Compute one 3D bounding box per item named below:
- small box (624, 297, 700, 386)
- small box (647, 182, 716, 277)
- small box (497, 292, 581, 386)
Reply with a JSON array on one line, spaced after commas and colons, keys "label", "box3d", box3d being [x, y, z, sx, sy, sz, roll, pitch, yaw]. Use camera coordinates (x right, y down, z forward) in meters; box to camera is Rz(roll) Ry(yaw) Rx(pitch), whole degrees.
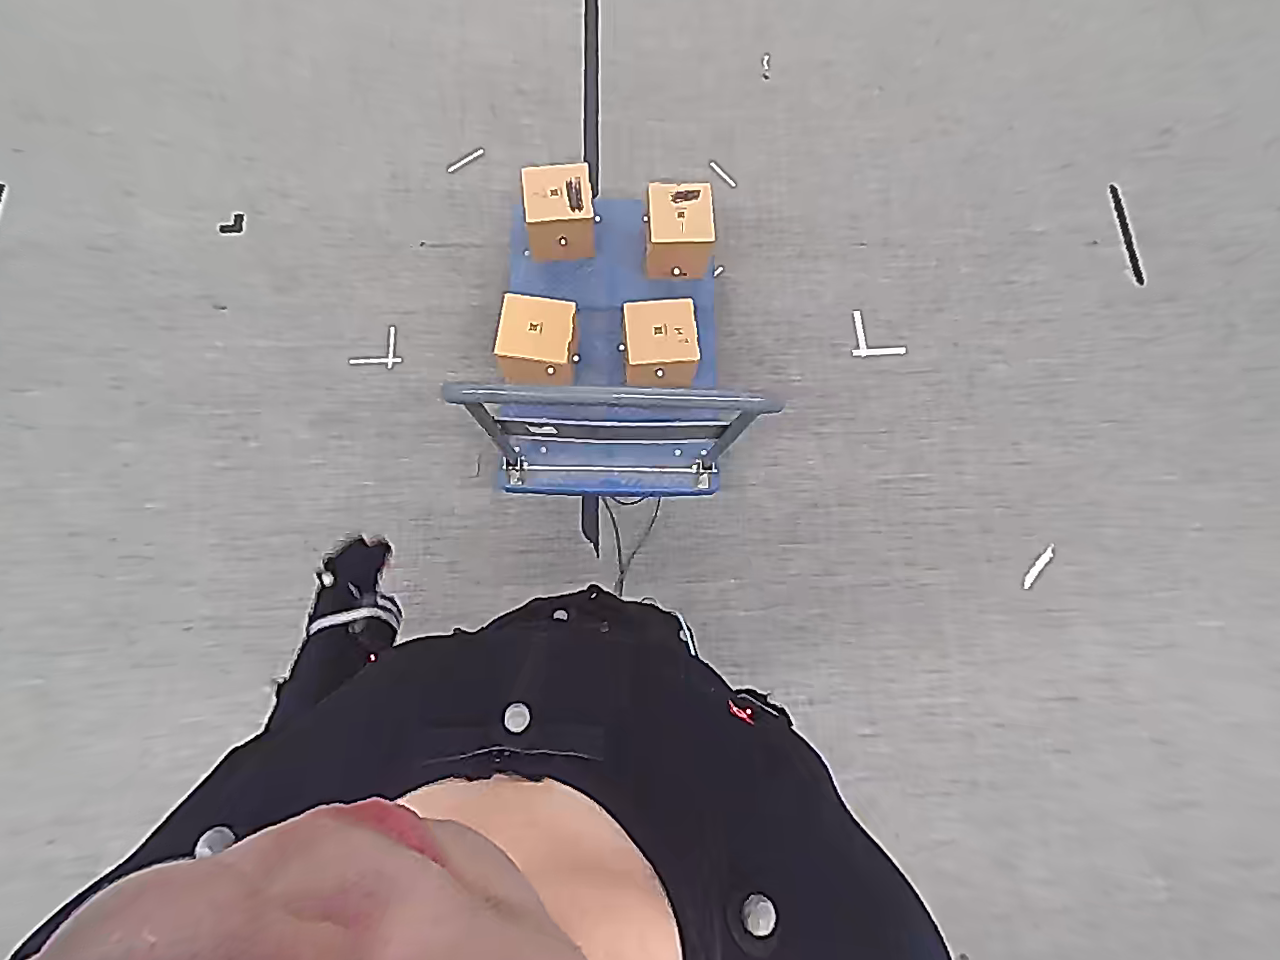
[{"label": "small box", "box3d": [0.052, -0.351, 1.400, 0.179, 0.176, 0.168, -5, 78, -4]}, {"label": "small box", "box3d": [0.107, -0.679, 1.474, 0.168, 0.176, 0.179, -2, 79, -3]}, {"label": "small box", "box3d": [-0.252, -0.355, 1.386, 0.179, 0.176, 0.168, 7, 77, -3]}]
